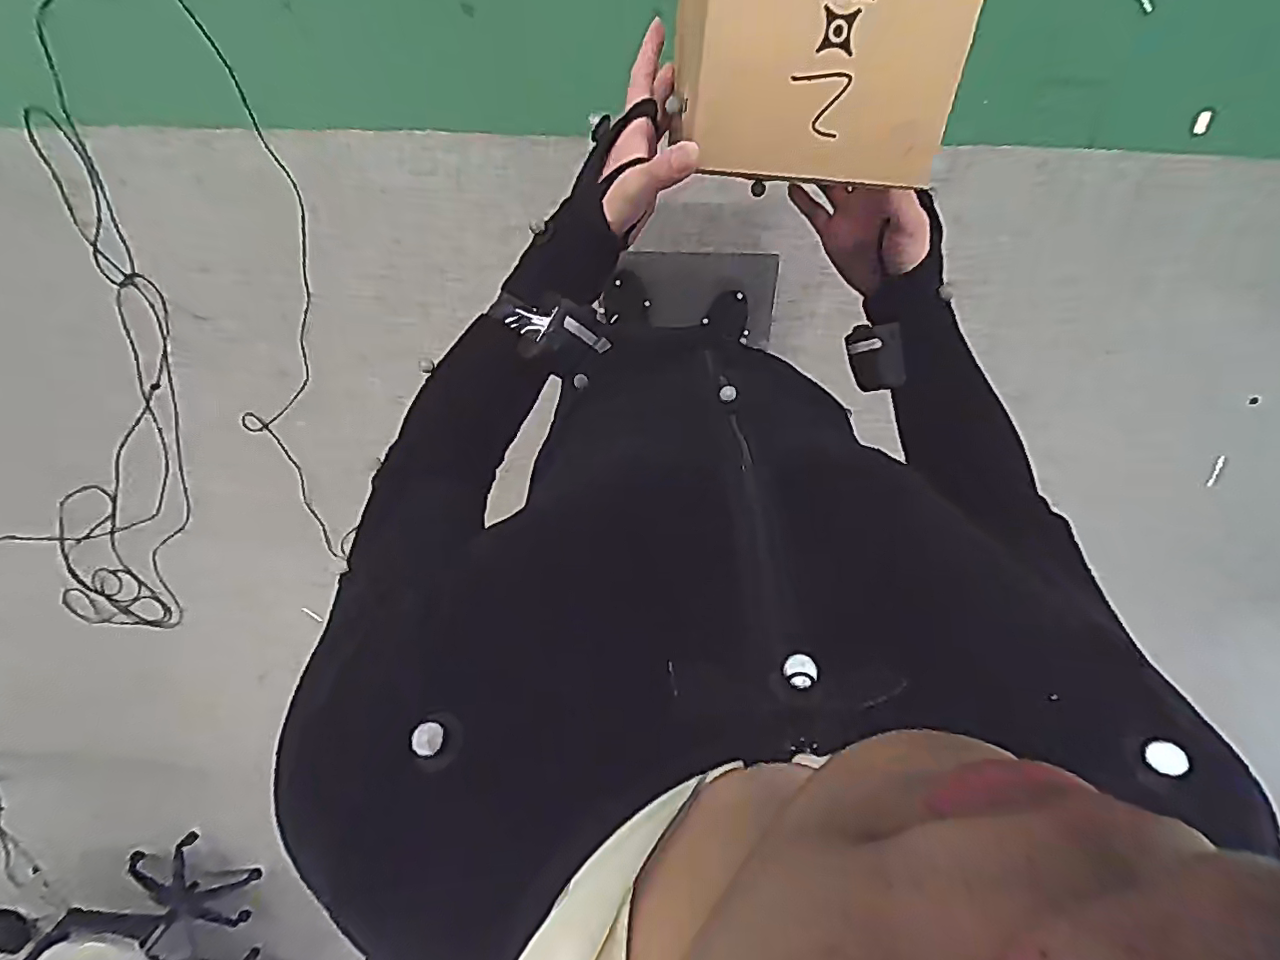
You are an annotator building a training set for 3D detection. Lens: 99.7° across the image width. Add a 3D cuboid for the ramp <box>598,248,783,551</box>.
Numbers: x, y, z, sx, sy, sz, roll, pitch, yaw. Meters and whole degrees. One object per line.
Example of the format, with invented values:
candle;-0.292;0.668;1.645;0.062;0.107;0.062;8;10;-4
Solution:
ramp;0.132;-0.181;1.676;0.509;0.206;0.991;0;111;3
